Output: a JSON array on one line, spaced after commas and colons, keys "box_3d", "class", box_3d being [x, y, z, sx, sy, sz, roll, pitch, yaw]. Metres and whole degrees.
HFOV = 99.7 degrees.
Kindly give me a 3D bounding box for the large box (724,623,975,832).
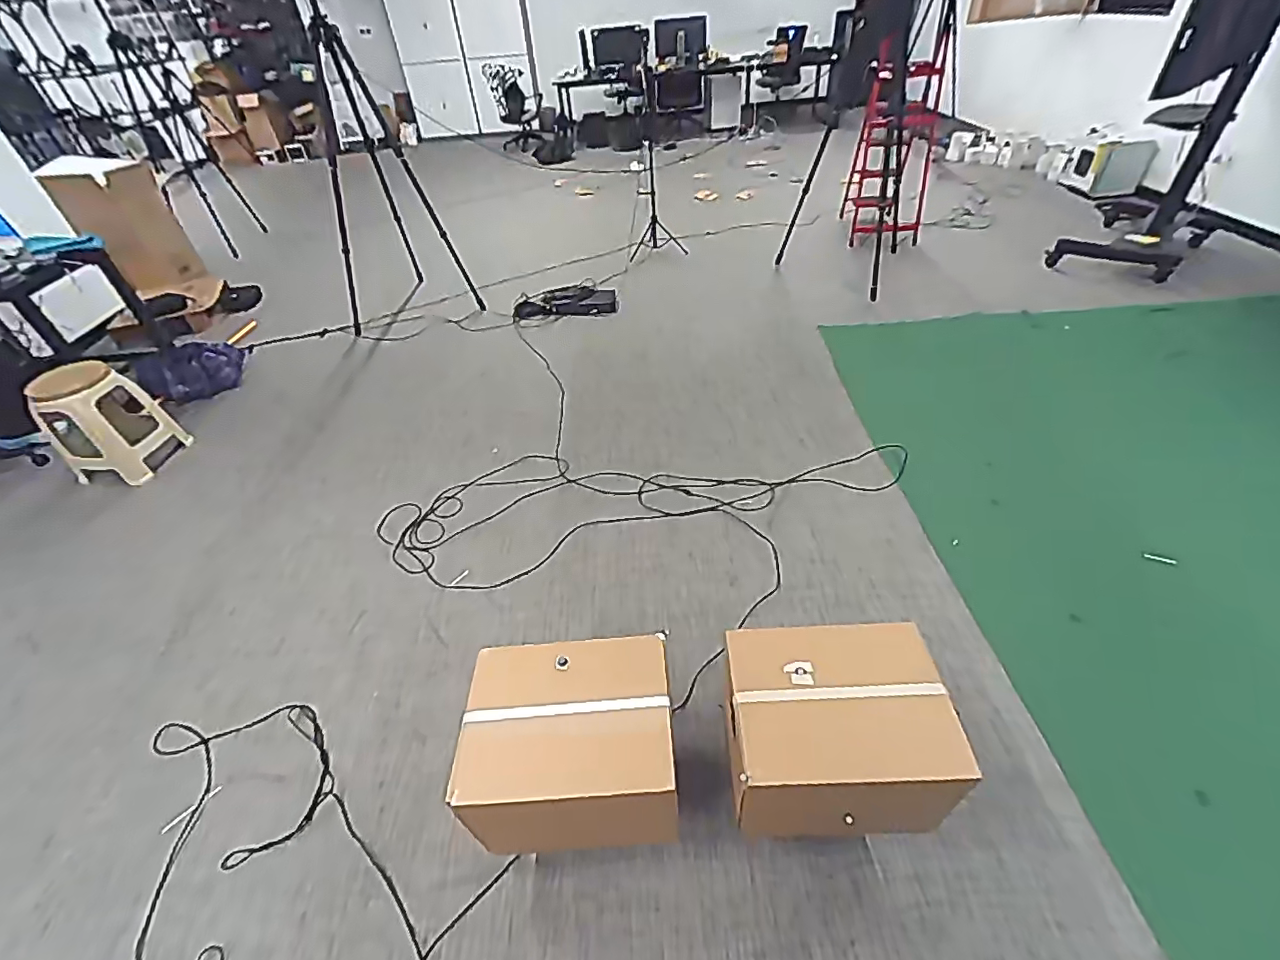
[{"box_3d": [0.401, 0.533, 1.159, 0.408, 0.320, 0.320, -4, 42, 3], "class": "large box"}]
